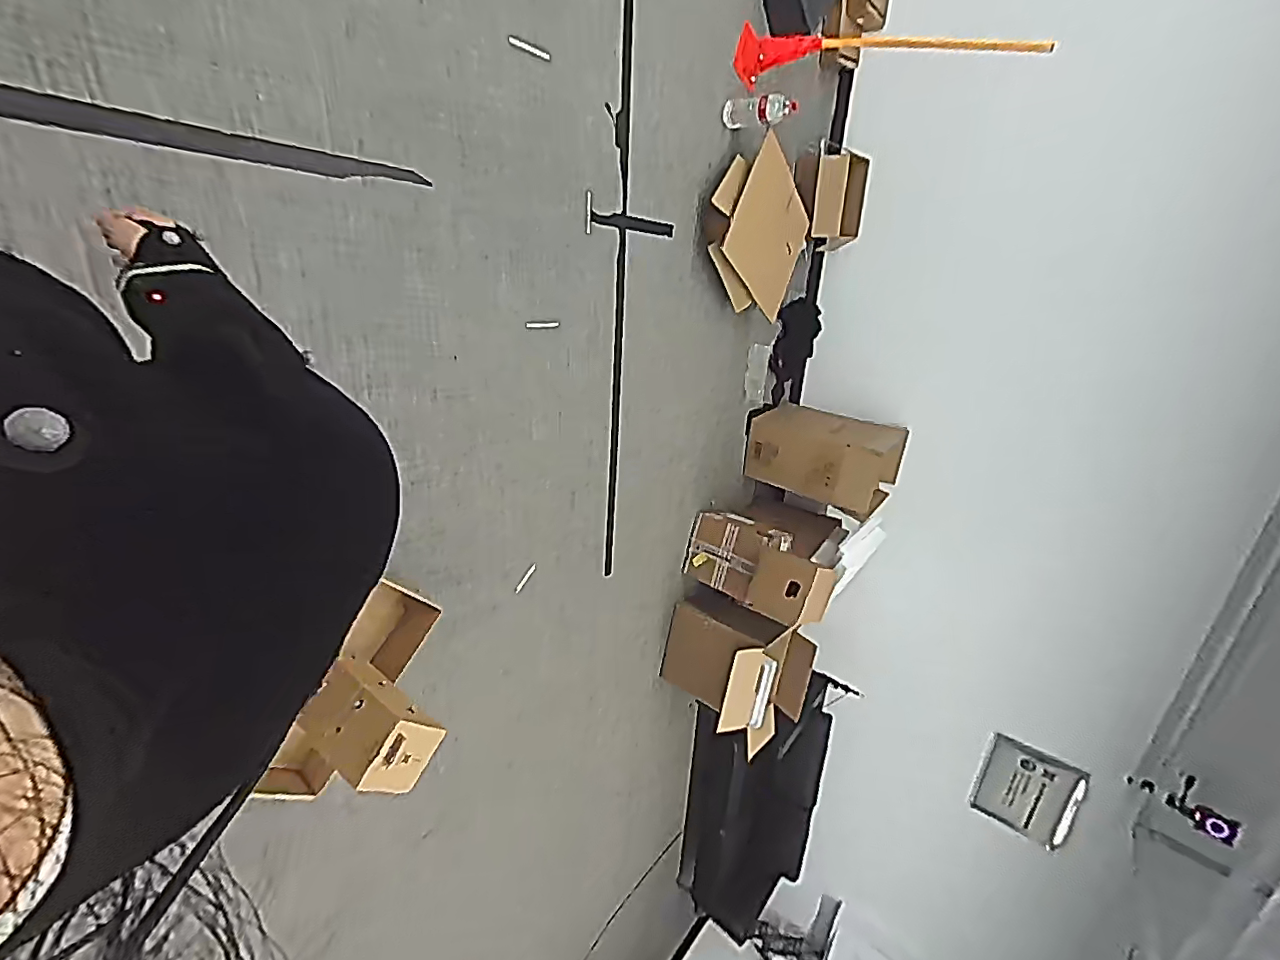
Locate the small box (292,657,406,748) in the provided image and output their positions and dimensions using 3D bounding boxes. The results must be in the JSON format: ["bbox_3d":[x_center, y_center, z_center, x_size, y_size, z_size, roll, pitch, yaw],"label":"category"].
[{"bbox_3d":[-0.753,0.587,1.413,0.168,0.176,0.179,-59,144,-19],"label":"small box"}]

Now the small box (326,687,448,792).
[{"bbox_3d":[-0.621,0.632,1.326,0.168,0.176,0.179,-60,146,-18],"label":"small box"}]

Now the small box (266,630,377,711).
[{"bbox_3d":[-0.881,0.542,1.502,0.168,0.176,0.179,-58,144,-20],"label":"small box"}]
